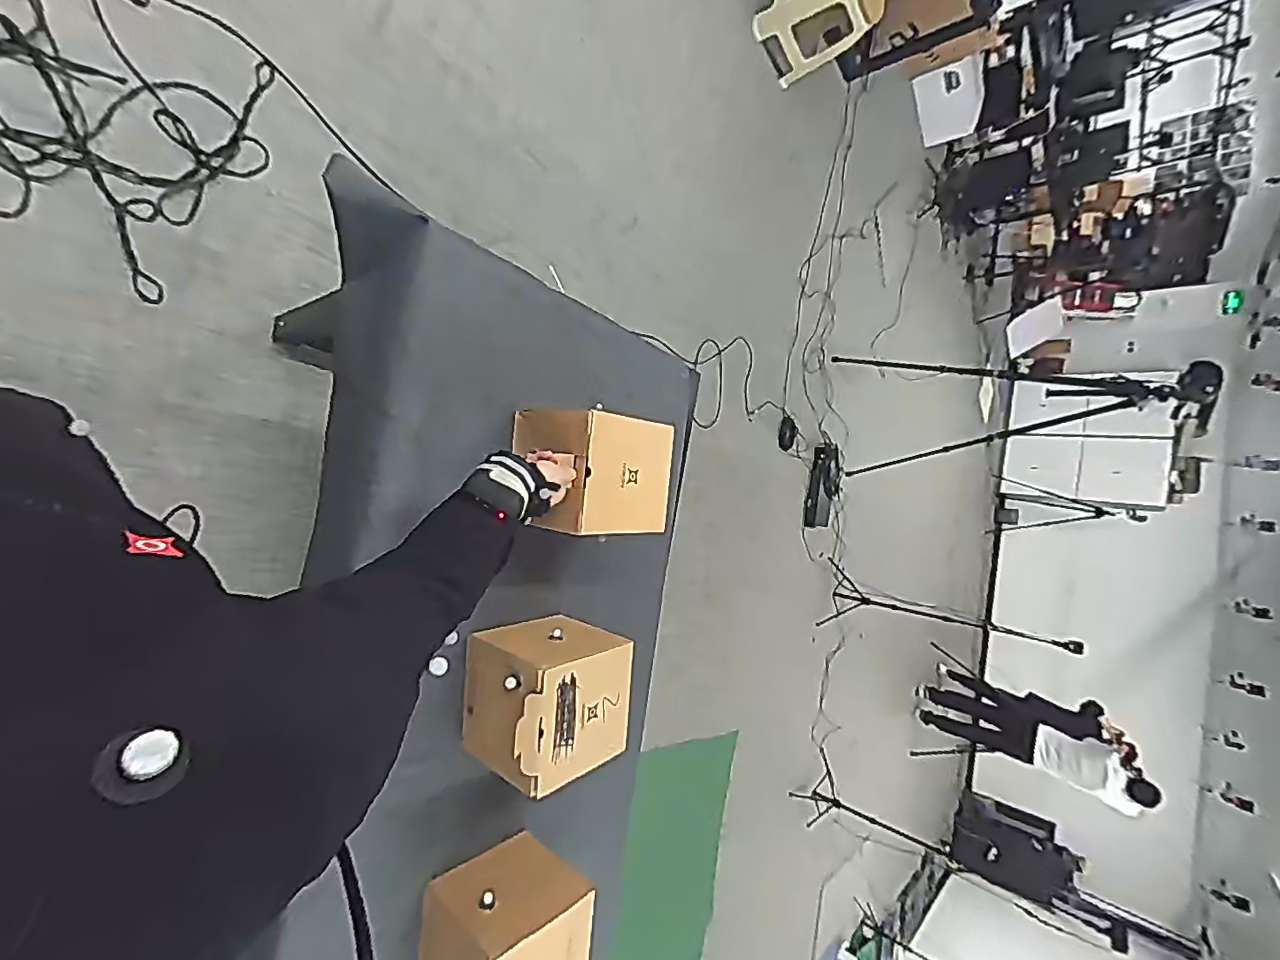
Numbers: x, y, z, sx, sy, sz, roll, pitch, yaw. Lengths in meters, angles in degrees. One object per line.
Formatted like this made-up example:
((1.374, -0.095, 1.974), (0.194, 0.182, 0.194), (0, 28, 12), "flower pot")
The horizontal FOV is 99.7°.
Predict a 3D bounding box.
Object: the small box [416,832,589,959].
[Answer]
((-0.196, 0.646, 0.759), (0.179, 0.176, 0.168), (4, 93, -51), "small box")

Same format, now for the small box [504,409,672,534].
((-0.077, -0.014, 0.812), (0.179, 0.176, 0.168), (4, 92, -49), "small box")
